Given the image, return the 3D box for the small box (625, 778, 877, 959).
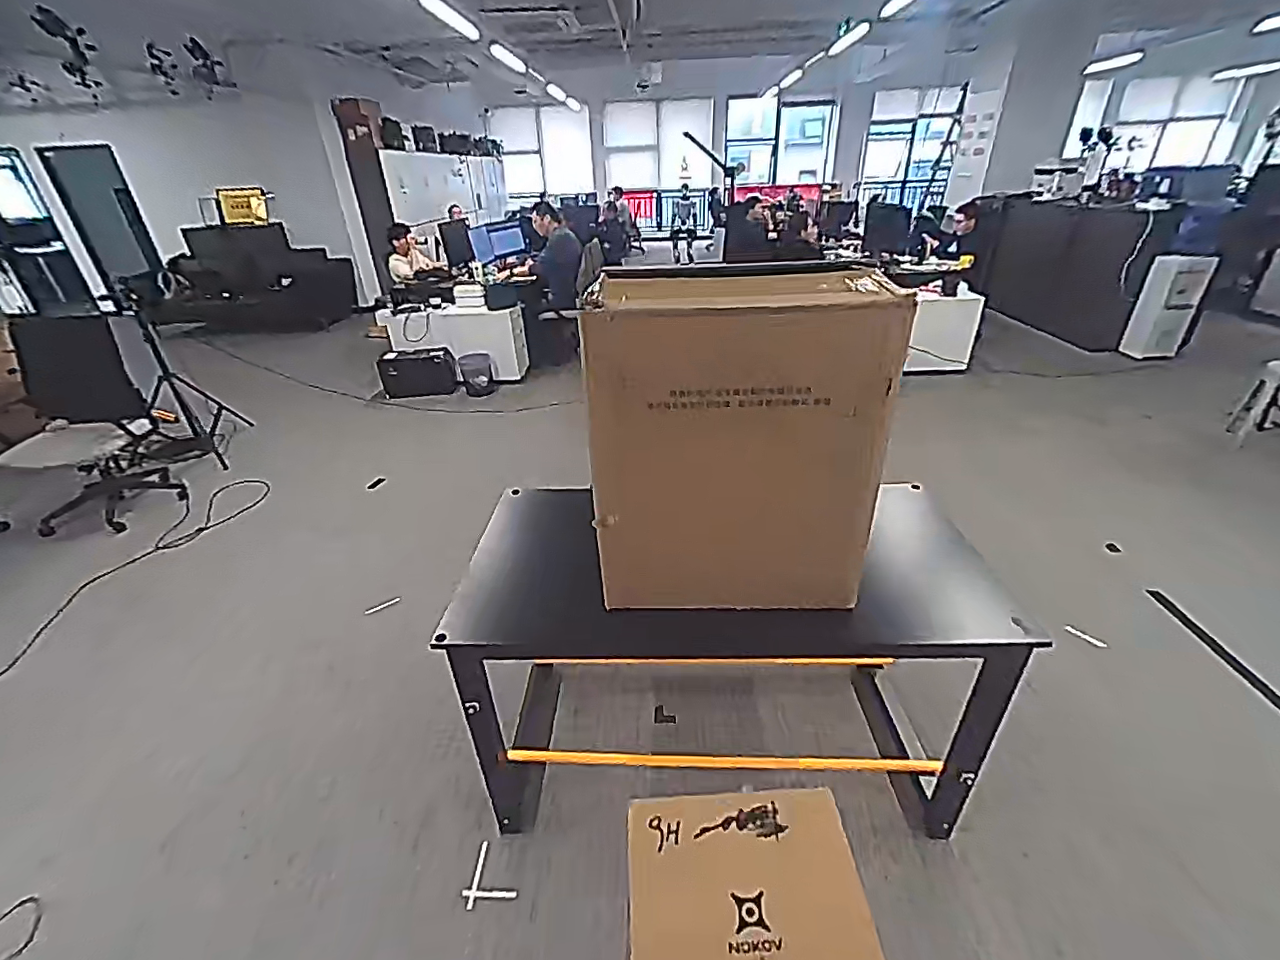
[{"bbox_3d":[0.077,0.363,0.419,0.168,0.176,0.179,-4,37,0],"label":"small box"}]
